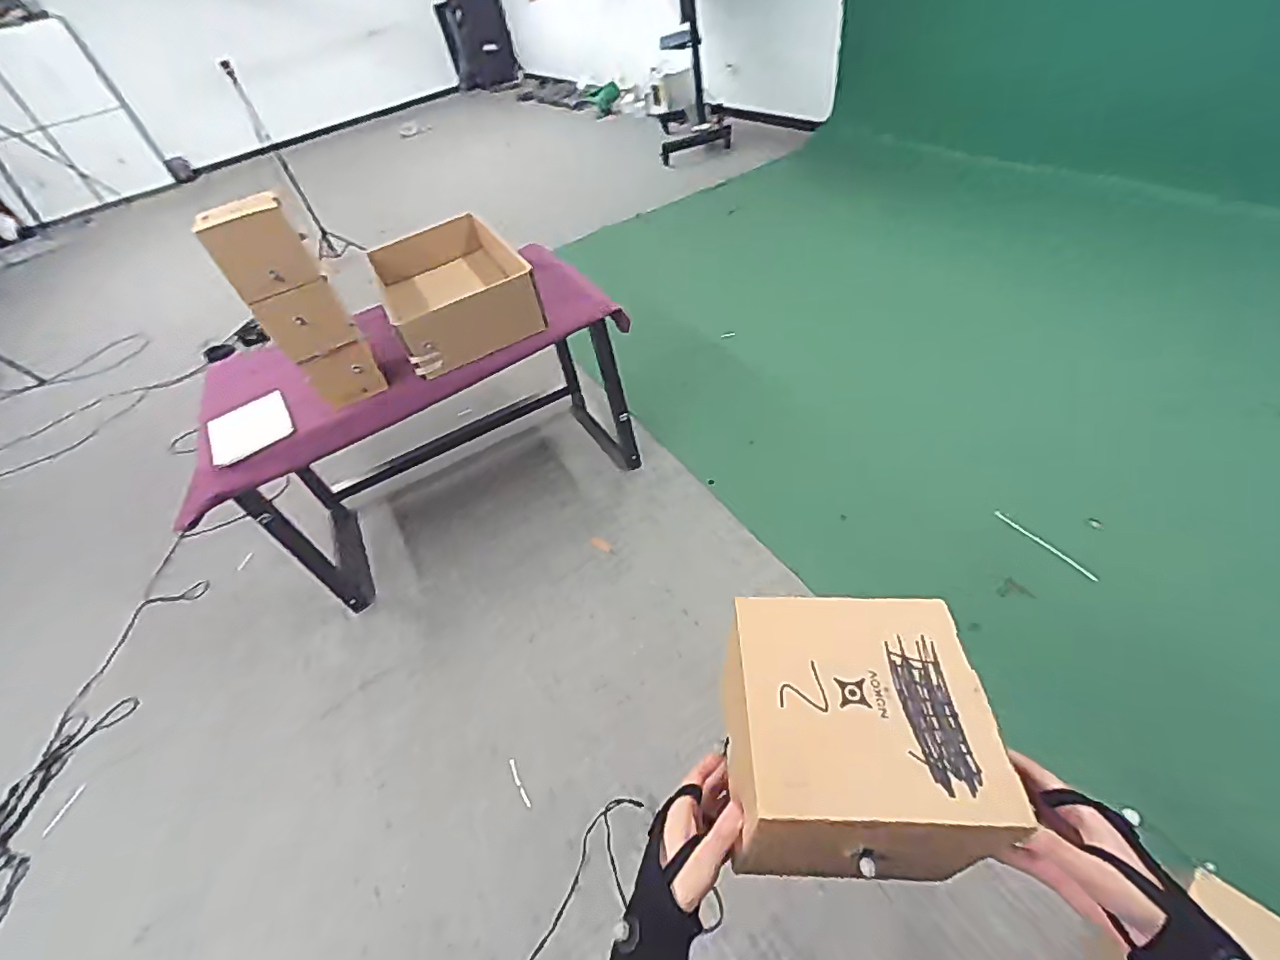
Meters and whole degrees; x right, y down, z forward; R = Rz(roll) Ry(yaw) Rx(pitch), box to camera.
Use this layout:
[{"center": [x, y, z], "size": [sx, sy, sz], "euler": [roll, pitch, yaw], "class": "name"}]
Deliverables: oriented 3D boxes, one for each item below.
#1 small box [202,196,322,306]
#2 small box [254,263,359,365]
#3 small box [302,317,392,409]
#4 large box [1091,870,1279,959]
[{"center": [-0.872, -0.537, 1.266], "size": [0.179, 0.176, 0.168], "euler": [-27, 45, -14], "class": "small box"}, {"center": [-0.844, -0.423, 1.382], "size": [0.179, 0.176, 0.168], "euler": [-27, 46, -13], "class": "small box"}, {"center": [-0.815, -0.320, 1.506], "size": [0.168, 0.176, 0.179], "euler": [-27, 45, -13], "class": "small box"}, {"center": [0.898, 0.922, 0.819], "size": [0.408, 0.320, 0.320], "euler": [-39, 51, -24], "class": "large box"}]
